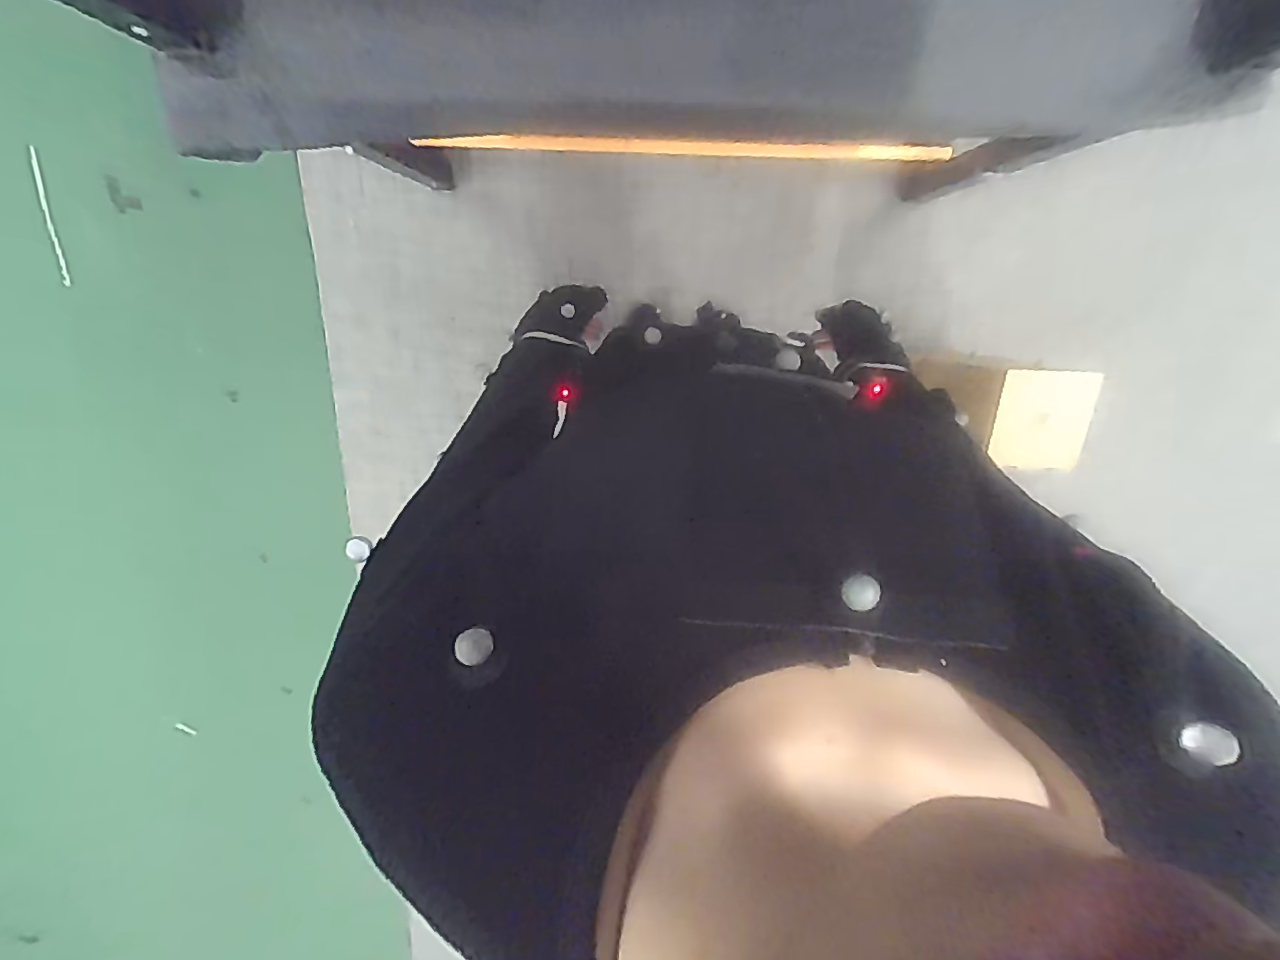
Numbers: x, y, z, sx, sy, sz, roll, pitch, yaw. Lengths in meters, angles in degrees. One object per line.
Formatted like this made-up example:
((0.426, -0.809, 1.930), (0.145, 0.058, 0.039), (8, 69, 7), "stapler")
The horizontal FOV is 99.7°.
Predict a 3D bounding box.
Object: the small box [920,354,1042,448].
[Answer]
((0.727, -0.174, 1.163), (0.168, 0.176, 0.179), (0, 108, 3), "small box")

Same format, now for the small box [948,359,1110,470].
((0.706, -0.128, 1.007), (0.168, 0.176, 0.179), (3, 109, 3), "small box")
